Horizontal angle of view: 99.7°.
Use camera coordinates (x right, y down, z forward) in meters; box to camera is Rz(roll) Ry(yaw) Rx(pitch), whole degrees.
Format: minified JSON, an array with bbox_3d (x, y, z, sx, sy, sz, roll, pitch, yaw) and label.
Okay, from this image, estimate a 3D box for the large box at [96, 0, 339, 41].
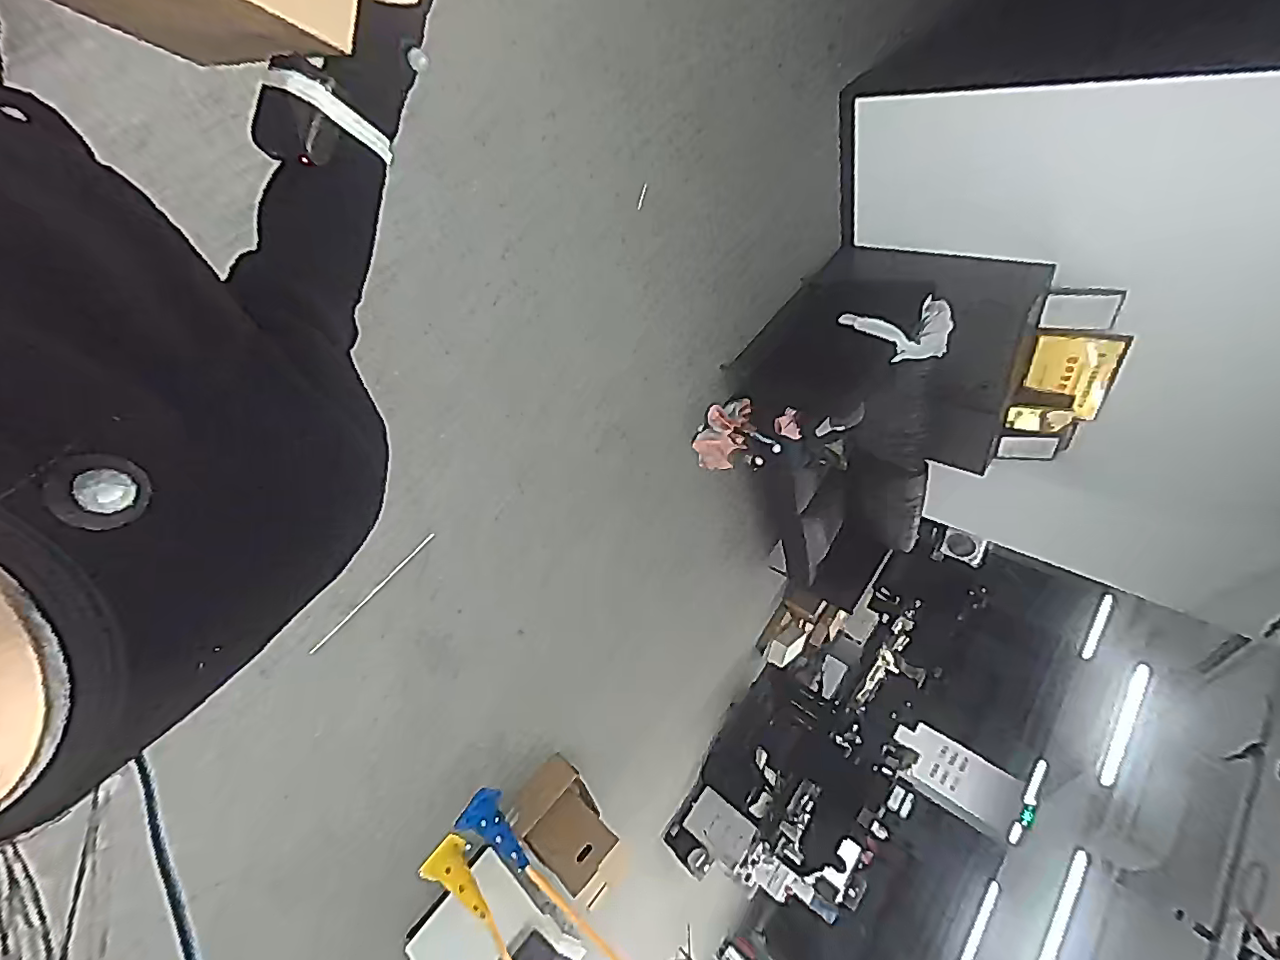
[{"bbox_3d":[-0.410,-0.499,0.270,0.408,0.320,0.320,-7,118,-52],"label":"large box"}]
